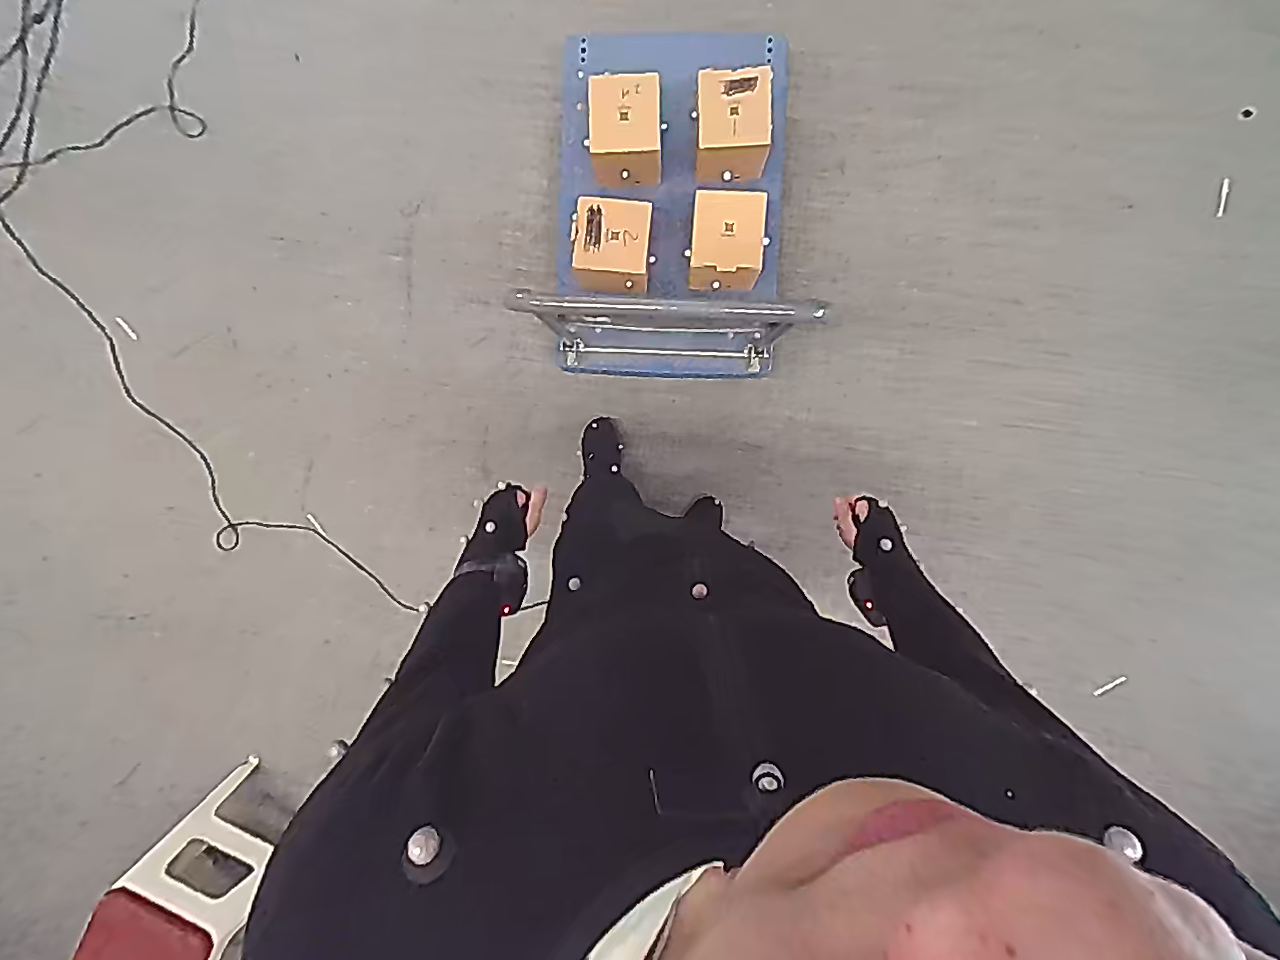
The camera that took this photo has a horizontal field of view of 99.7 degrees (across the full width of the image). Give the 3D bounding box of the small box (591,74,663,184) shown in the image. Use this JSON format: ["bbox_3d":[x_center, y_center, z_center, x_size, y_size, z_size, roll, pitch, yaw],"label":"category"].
[{"bbox_3d":[-0.027,-0.845,1.320,0.168,0.176,0.179,0,93,2],"label":"small box"}]

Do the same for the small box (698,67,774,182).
[{"bbox_3d":[0.226,-0.850,1.306,0.168,0.176,0.179,-1,94,4],"label":"small box"}]

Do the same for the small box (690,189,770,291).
[{"bbox_3d":[0.213,-0.580,1.323,0.168,0.176,0.179,4,94,3],"label":"small box"}]
